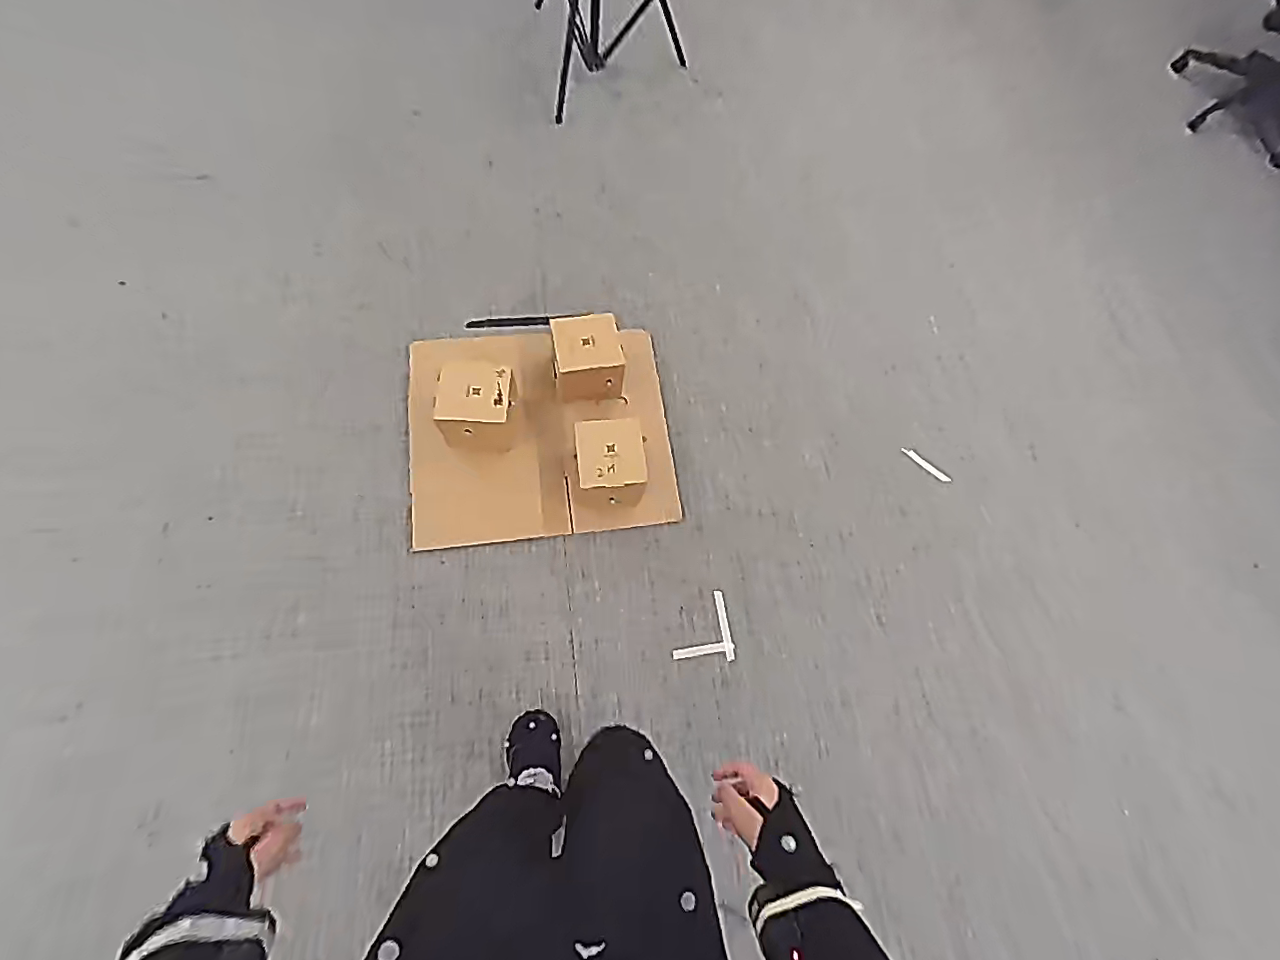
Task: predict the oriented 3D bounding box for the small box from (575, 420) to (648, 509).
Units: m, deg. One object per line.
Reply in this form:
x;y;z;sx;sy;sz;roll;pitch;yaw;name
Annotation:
-0.079;-0.037;1.389;0.168;0.176;0.179;-5;73;-8;small box

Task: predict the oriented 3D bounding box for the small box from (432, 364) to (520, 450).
-0.415;-0.183;1.398;0.179;0.176;0.168;2;71;-4;small box

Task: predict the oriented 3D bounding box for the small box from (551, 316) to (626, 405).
-0.145;-0.324;1.483;0.179;0.176;0.168;-10;71;-10;small box
